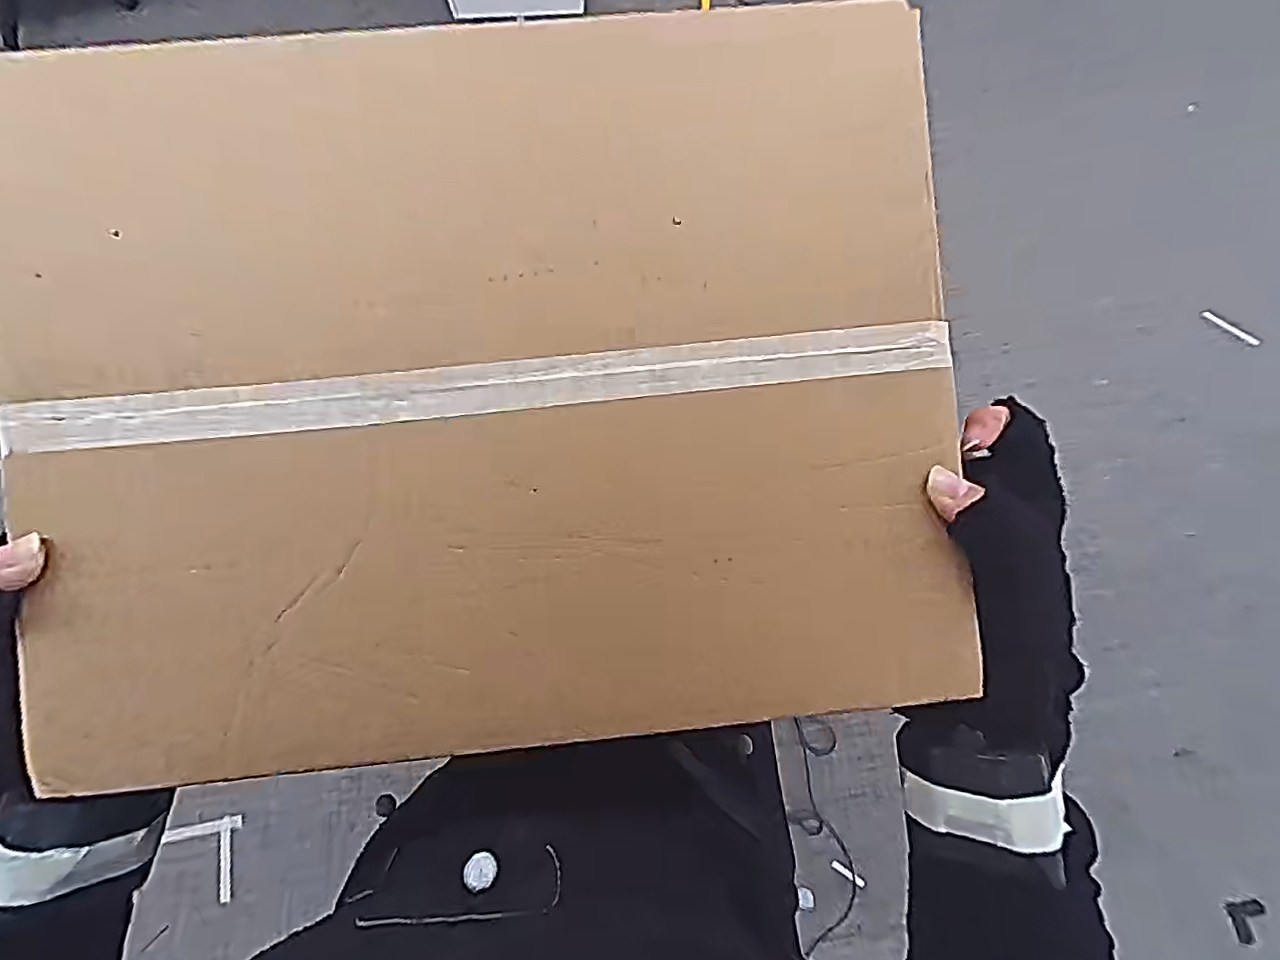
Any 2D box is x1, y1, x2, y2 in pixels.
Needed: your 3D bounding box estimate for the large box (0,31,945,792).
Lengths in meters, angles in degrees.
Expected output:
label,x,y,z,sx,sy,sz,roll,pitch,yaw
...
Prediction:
label,x,y,z,sx,sy,sz,roll,pitch,yaw
large box,-0.072,-0.036,0.393,0.408,0.320,0.320,-6,90,-2
